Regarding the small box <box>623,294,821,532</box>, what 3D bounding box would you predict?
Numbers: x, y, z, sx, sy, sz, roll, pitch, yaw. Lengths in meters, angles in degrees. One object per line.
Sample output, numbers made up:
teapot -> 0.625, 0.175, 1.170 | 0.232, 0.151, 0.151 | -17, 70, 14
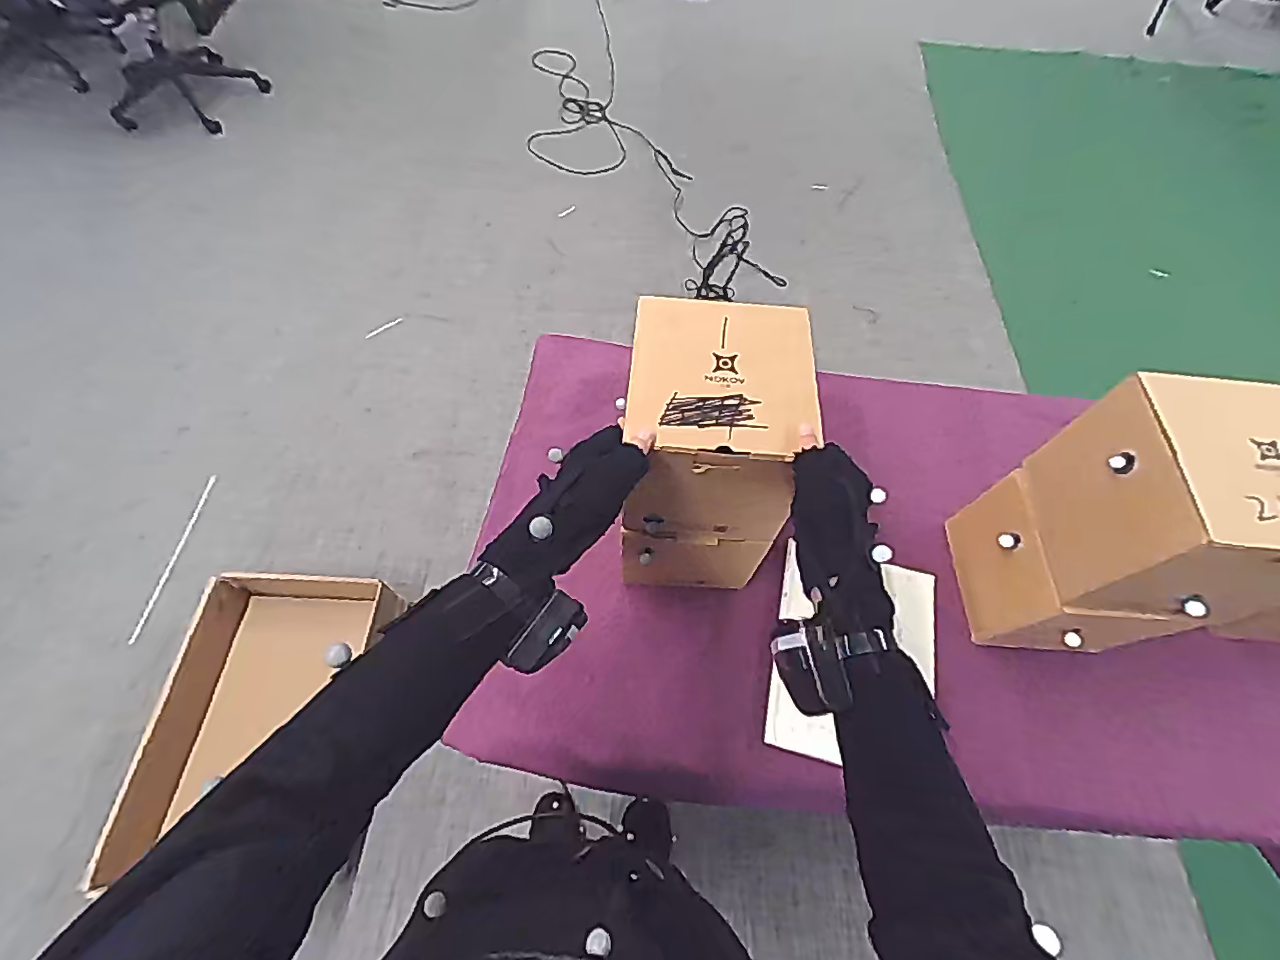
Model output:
small box -> 0.073, -0.059, 0.552 | 0.168, 0.176, 0.179 | 5, 61, 0

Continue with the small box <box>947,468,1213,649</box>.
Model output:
small box -> 0.517, 0.104, 0.669 | 0.168, 0.176, 0.179 | 4, 61, 0

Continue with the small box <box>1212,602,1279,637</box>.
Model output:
small box -> 0.837, 0.098, 0.681 | 0.168, 0.176, 0.179 | 6, 61, 1

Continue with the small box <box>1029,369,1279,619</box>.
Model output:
small box -> 0.525, 0.020, 0.527 | 0.168, 0.176, 0.179 | 6, 61, 2
